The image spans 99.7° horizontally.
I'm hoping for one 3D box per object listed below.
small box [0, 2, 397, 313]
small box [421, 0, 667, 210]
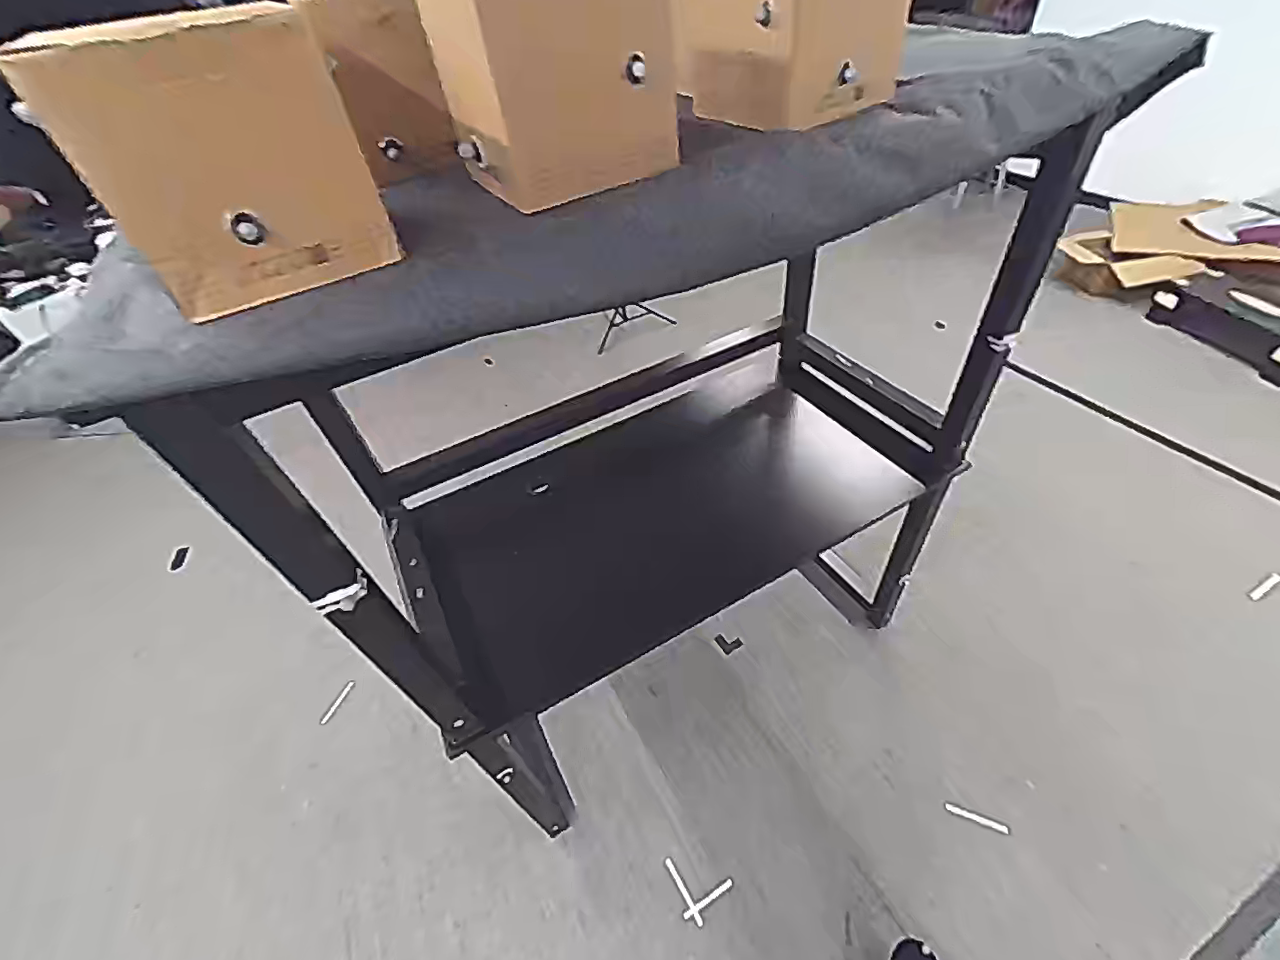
[{"bbox_3d":[-0.324,-0.258,0.432,0.168,0.176,0.179,-28,49,-19],"label":"small box"},{"bbox_3d":[-0.086,-0.384,0.521,0.179,0.176,0.168,-26,46,-19],"label":"small box"}]
